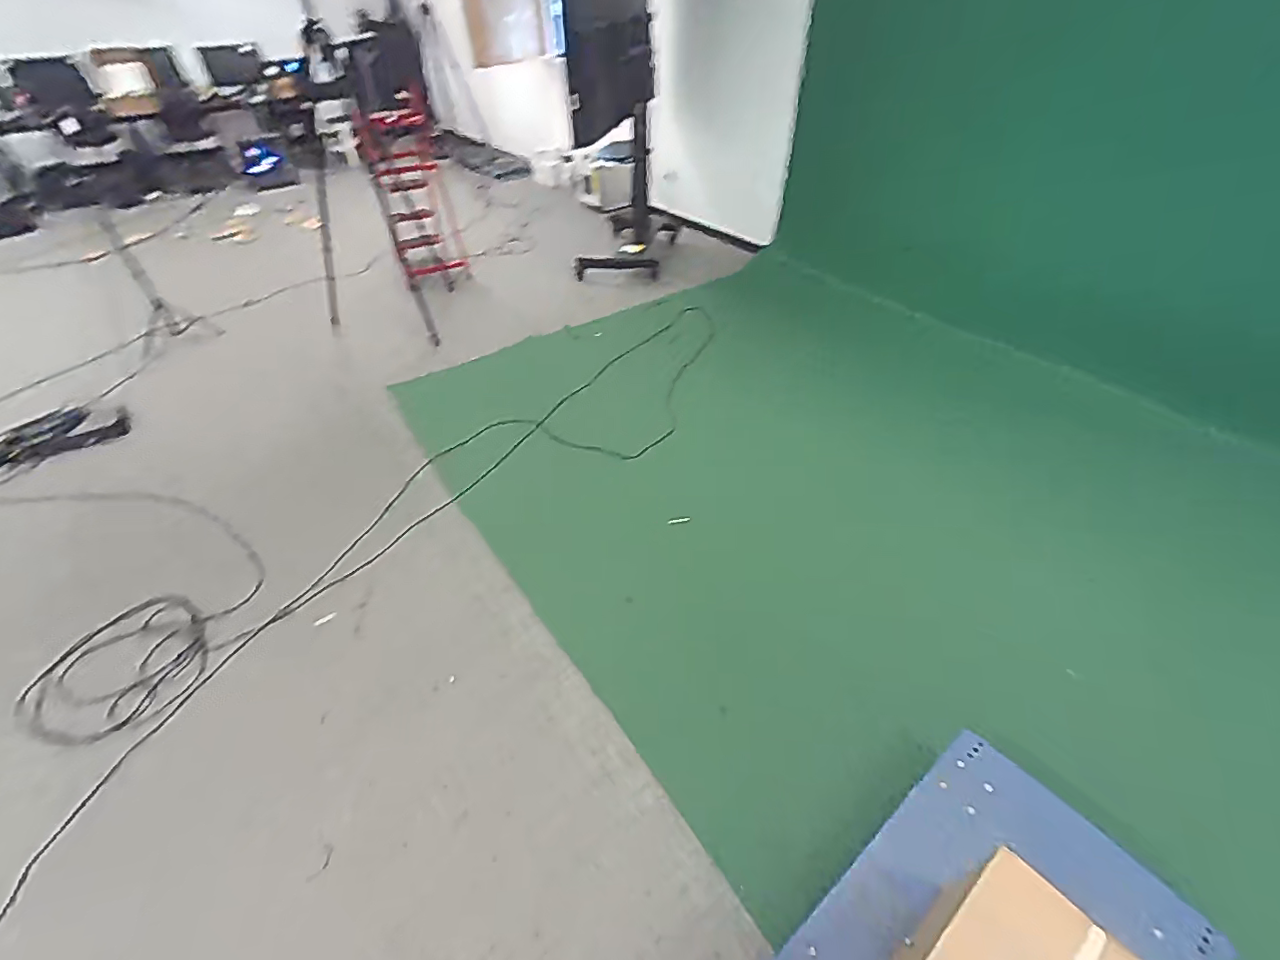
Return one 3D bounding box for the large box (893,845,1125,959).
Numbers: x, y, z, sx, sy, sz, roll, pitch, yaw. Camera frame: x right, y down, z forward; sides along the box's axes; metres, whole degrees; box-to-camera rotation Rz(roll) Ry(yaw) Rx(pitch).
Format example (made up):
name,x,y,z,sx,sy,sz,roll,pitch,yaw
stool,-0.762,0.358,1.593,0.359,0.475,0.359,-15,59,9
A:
name,x,y,z,sx,sy,sz,roll,pitch,yaw
large box,0.598,0.944,0.911,0.408,0.320,0.320,-28,48,-27
